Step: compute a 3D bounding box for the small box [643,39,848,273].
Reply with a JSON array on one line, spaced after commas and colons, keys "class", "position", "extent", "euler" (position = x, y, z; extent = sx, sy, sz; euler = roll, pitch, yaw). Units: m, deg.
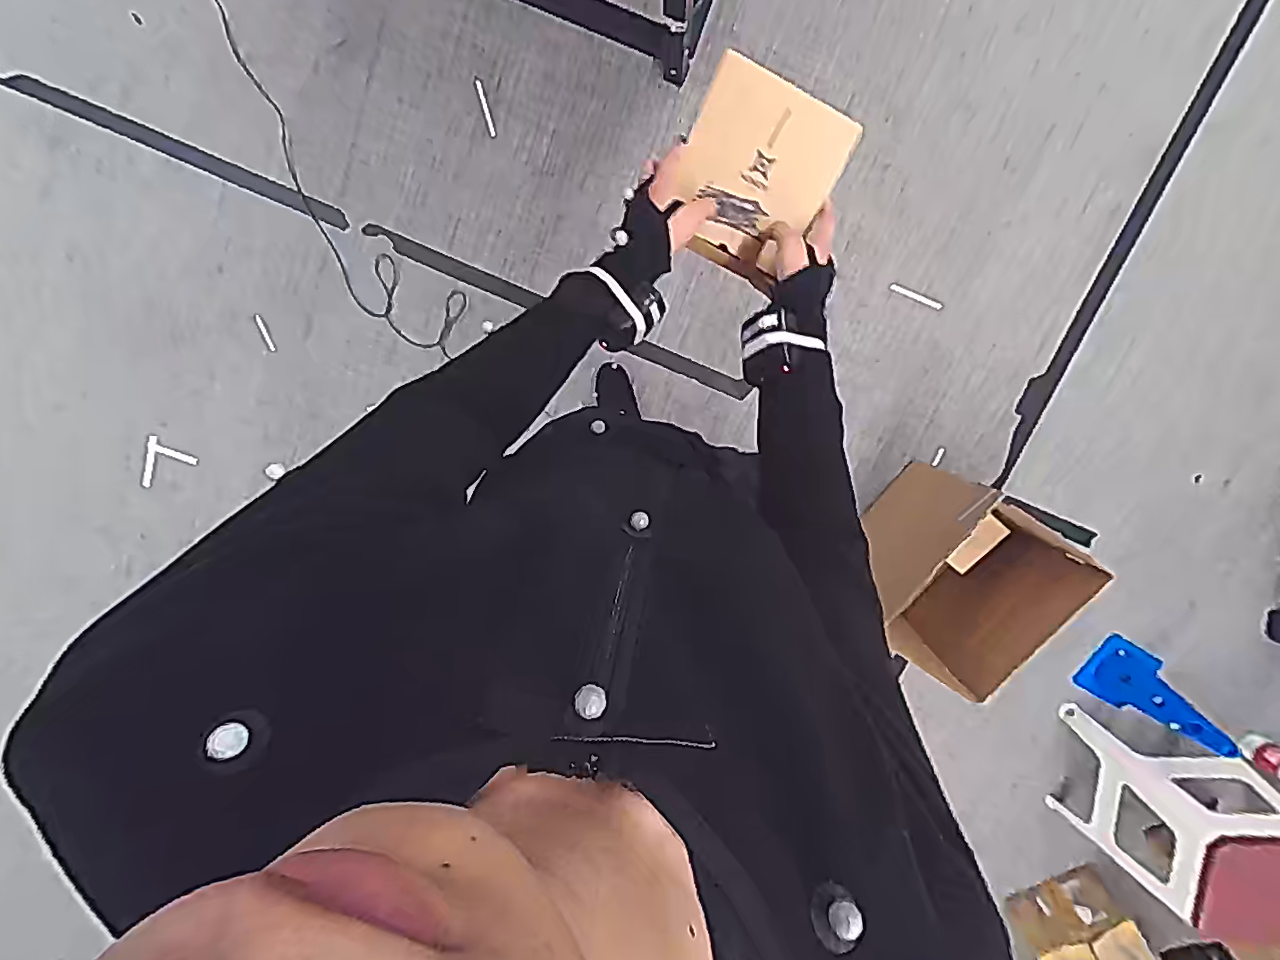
[{"class": "small box", "position": [0.113, -0.368, 0.657], "extent": [0.168, 0.176, 0.179], "euler": [22, 108, -9]}]
